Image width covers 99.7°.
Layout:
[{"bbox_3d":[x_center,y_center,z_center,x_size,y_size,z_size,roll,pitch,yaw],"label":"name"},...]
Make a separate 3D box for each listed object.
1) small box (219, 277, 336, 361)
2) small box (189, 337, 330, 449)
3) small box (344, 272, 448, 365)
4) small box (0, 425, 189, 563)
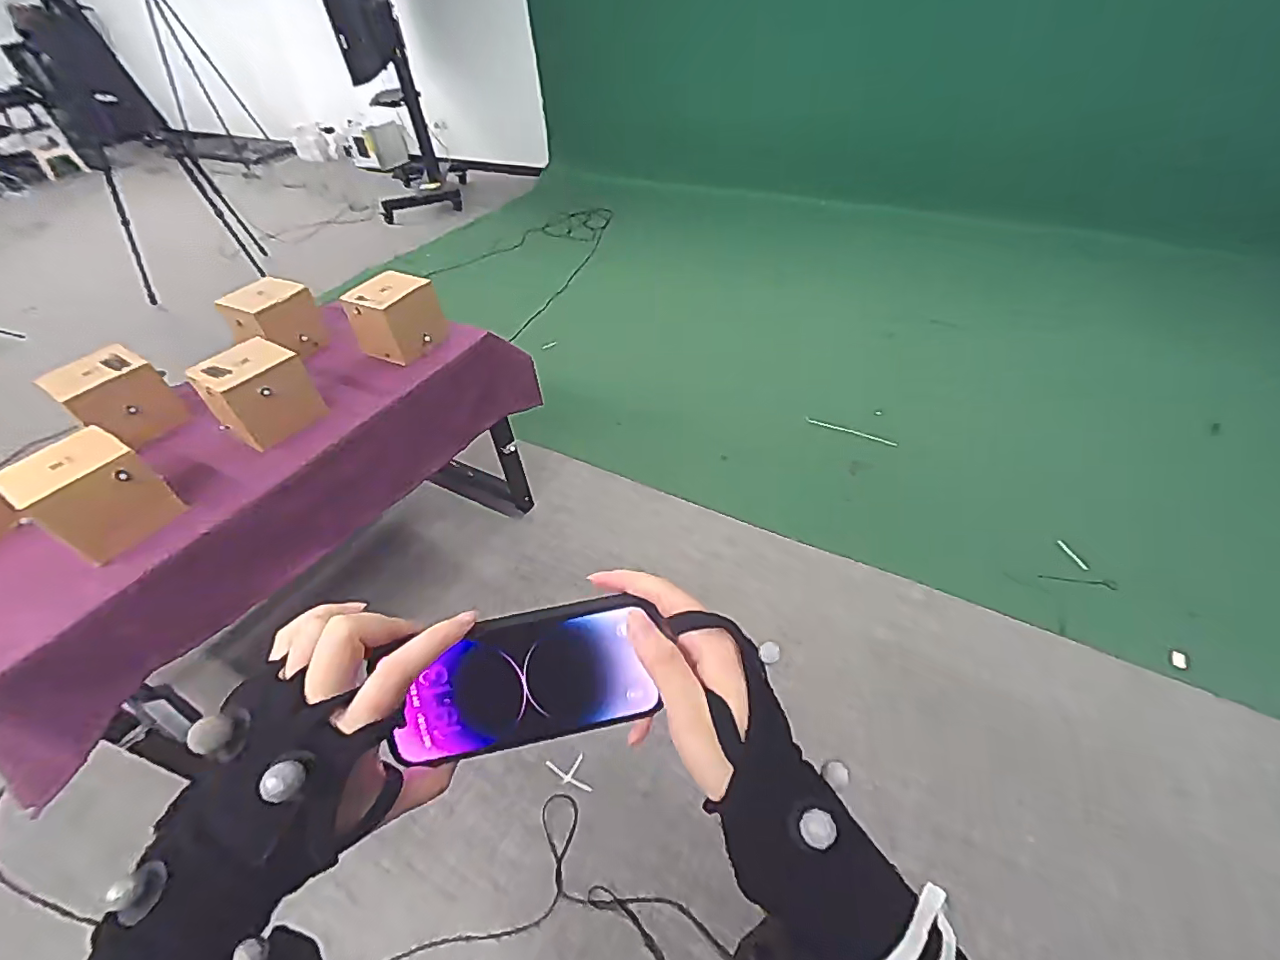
[{"bbox_3d":[-0.993,-0.436,1.494,0.179,0.176,0.168,19,50,22],"label":"small box"},{"bbox_3d":[-0.865,-0.199,1.246,0.168,0.176,0.179,23,51,26],"label":"small box"},{"bbox_3d":[-0.648,-0.438,1.466,0.168,0.176,0.179,19,50,23],"label":"small box"},{"bbox_3d":[-1.032,0.028,1.034,0.168,0.176,0.179,22,49,25],"label":"small box"}]
